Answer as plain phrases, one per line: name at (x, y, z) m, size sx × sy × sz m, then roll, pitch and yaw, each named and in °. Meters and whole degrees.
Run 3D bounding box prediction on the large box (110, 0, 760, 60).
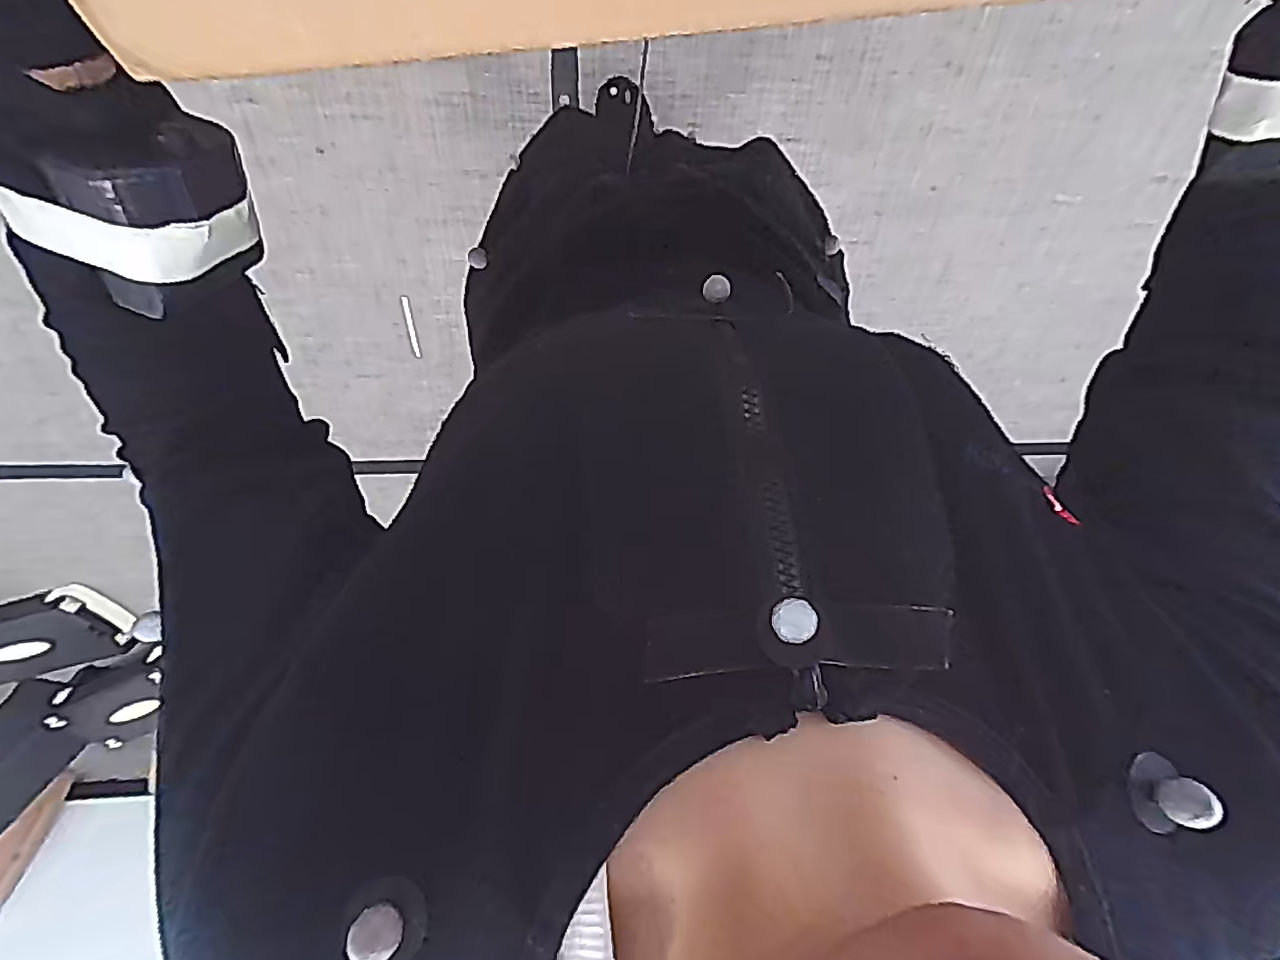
large box at (0.007, -0.373, 0.136) m, size 0.408 × 0.320 × 0.320 m, roll -6°, pitch 148°, yaw -1°
